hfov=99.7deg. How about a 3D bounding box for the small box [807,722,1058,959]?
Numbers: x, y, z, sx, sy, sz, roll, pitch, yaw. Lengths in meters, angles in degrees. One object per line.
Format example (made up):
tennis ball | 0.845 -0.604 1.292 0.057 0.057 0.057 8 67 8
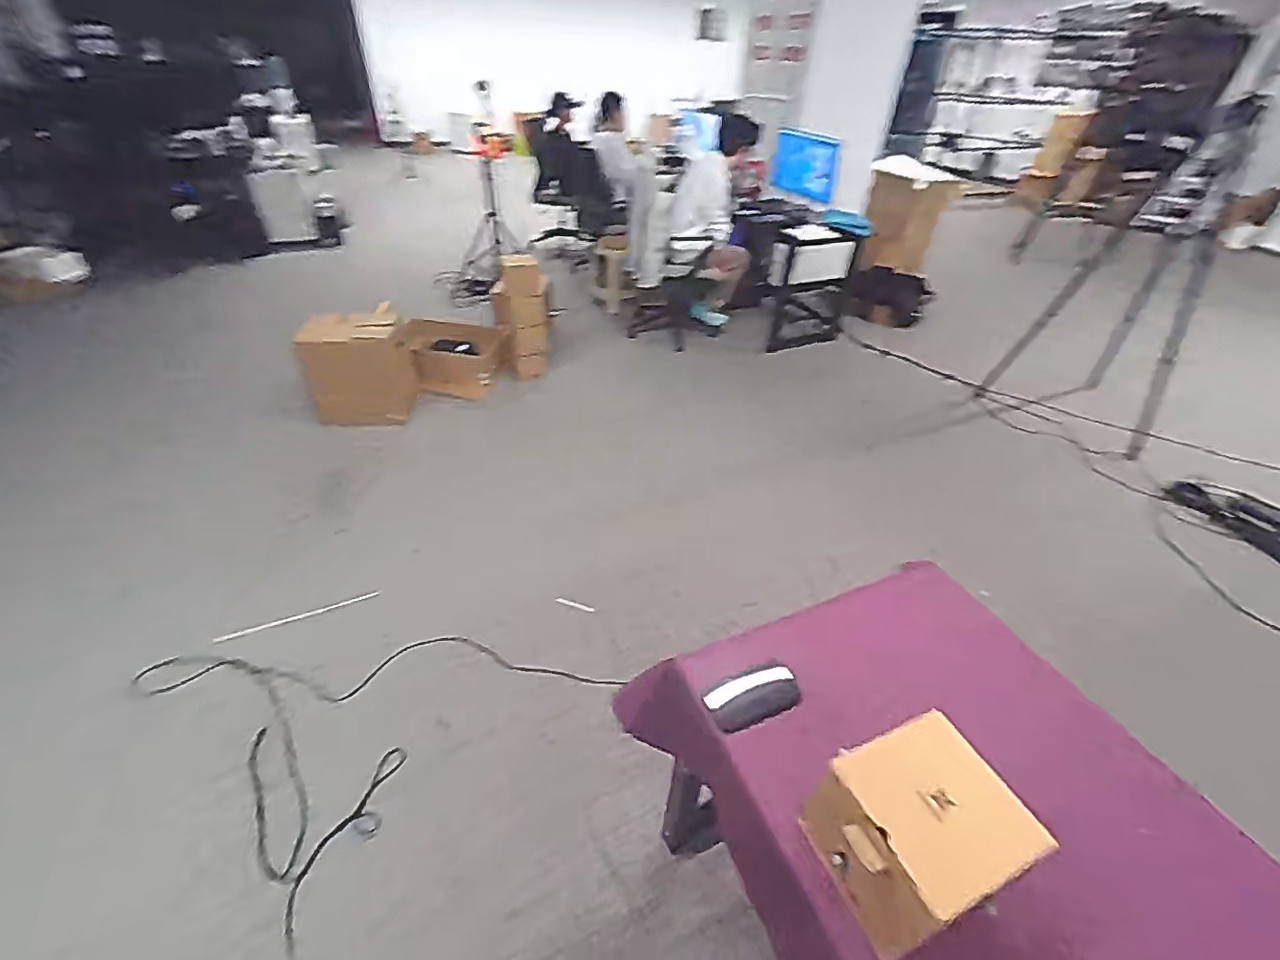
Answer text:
small box | 0.332 0.432 0.651 0.179 0.176 0.168 -13 42 -20
